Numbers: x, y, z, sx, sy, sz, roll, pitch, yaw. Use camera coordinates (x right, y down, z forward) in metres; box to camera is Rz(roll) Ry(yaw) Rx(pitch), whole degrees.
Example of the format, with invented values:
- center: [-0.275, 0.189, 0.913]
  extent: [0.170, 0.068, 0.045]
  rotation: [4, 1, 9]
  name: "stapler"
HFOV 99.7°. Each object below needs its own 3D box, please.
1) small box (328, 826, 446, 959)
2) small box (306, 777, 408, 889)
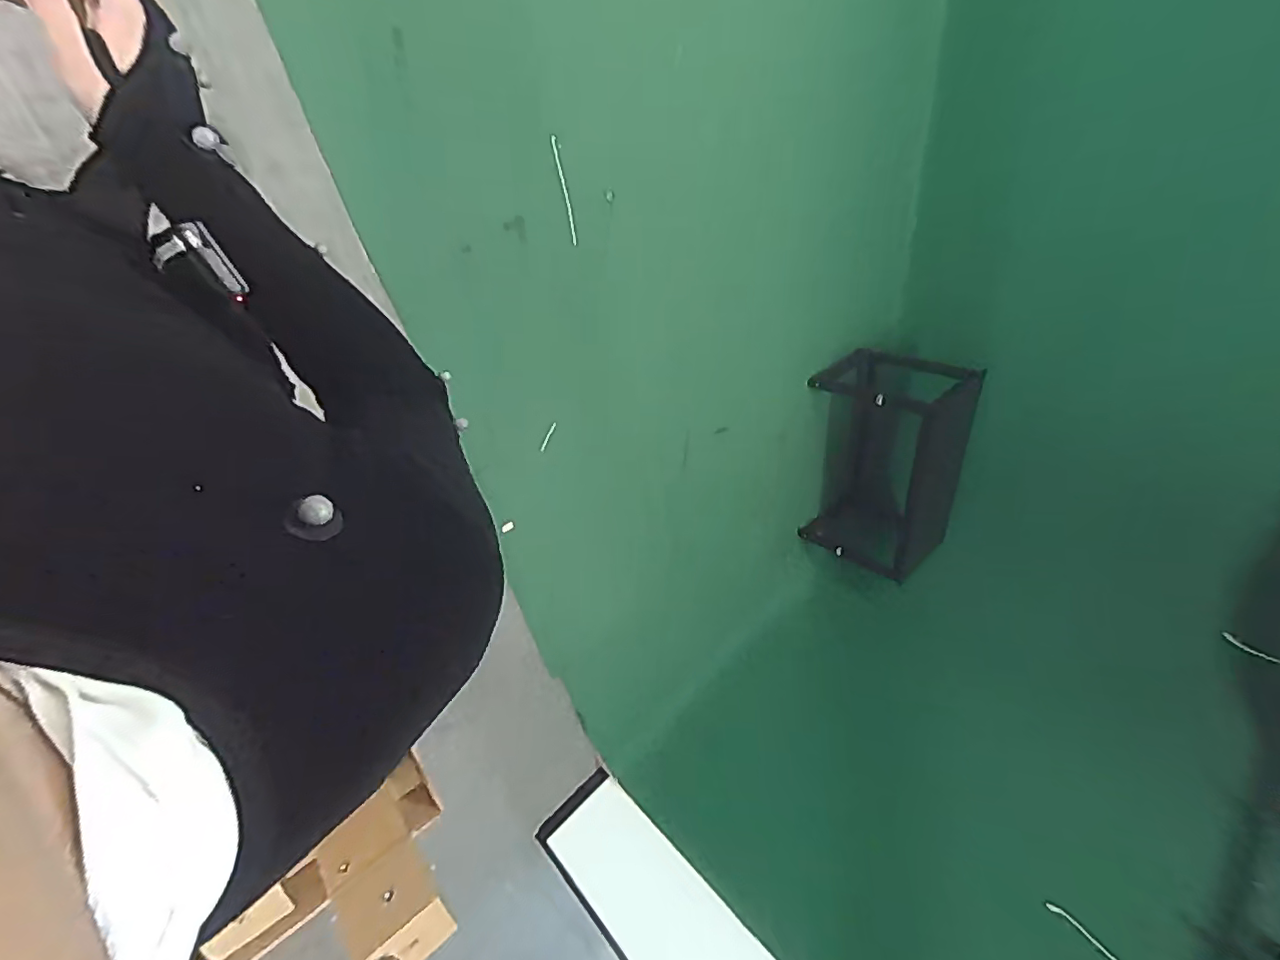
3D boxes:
- center: [-0.560, 0.921, 1.187]
  extent: [0.179, 0.176, 0.168]
  rotation: [-28, 129, -31]
  name: "small box"
- center: [-0.667, 0.864, 1.298]
  extent: [0.179, 0.176, 0.168]
  rotation: [-25, 127, -32]
  name: "small box"
